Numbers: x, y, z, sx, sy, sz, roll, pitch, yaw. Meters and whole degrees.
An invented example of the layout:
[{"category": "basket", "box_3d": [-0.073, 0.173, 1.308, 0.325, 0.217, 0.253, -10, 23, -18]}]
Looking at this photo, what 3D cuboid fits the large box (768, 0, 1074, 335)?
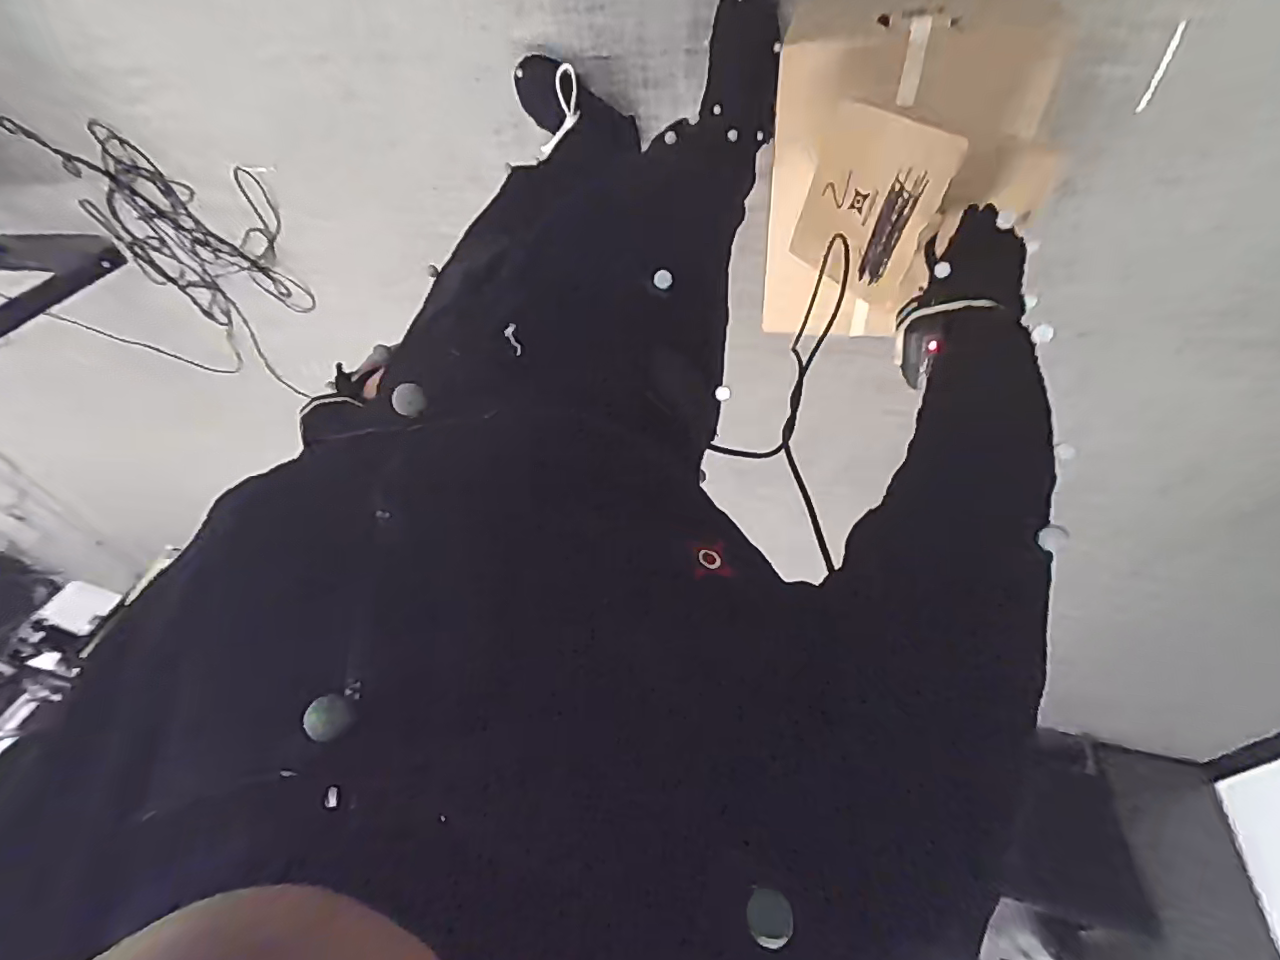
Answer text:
[{"category": "large box", "box_3d": [0.382, -0.492, 0.853, 0.320, 0.320, 0.408, 7, 141, 14]}]
